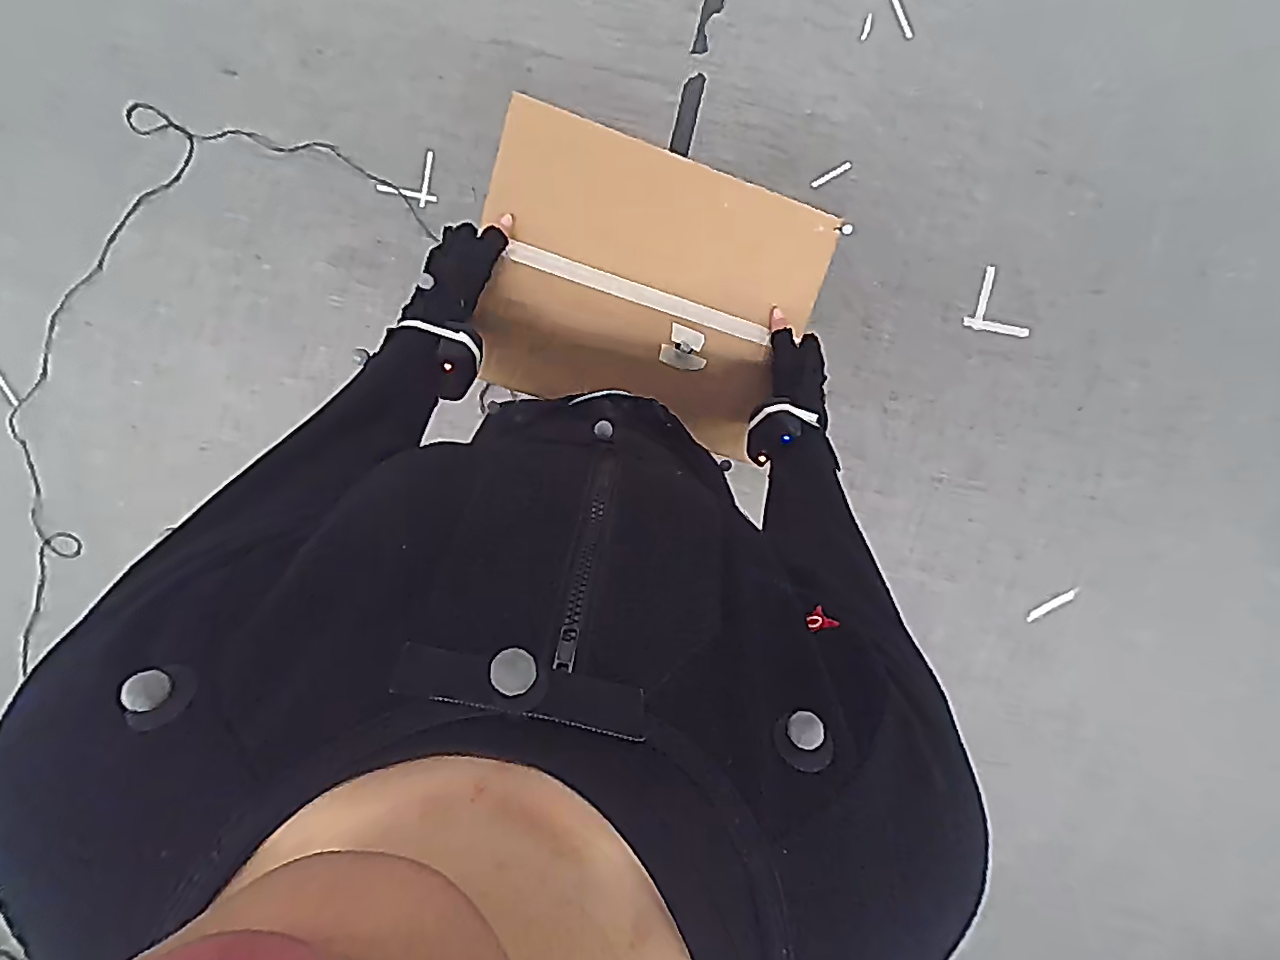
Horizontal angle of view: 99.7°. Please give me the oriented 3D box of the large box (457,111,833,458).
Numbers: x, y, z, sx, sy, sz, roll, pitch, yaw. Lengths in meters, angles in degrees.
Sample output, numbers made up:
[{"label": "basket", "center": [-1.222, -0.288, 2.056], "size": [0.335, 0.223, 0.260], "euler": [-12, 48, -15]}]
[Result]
[{"label": "large box", "center": [-0.008, -0.255, 0.804], "size": [0.408, 0.320, 0.320], "euler": [16, 103, -8]}]
